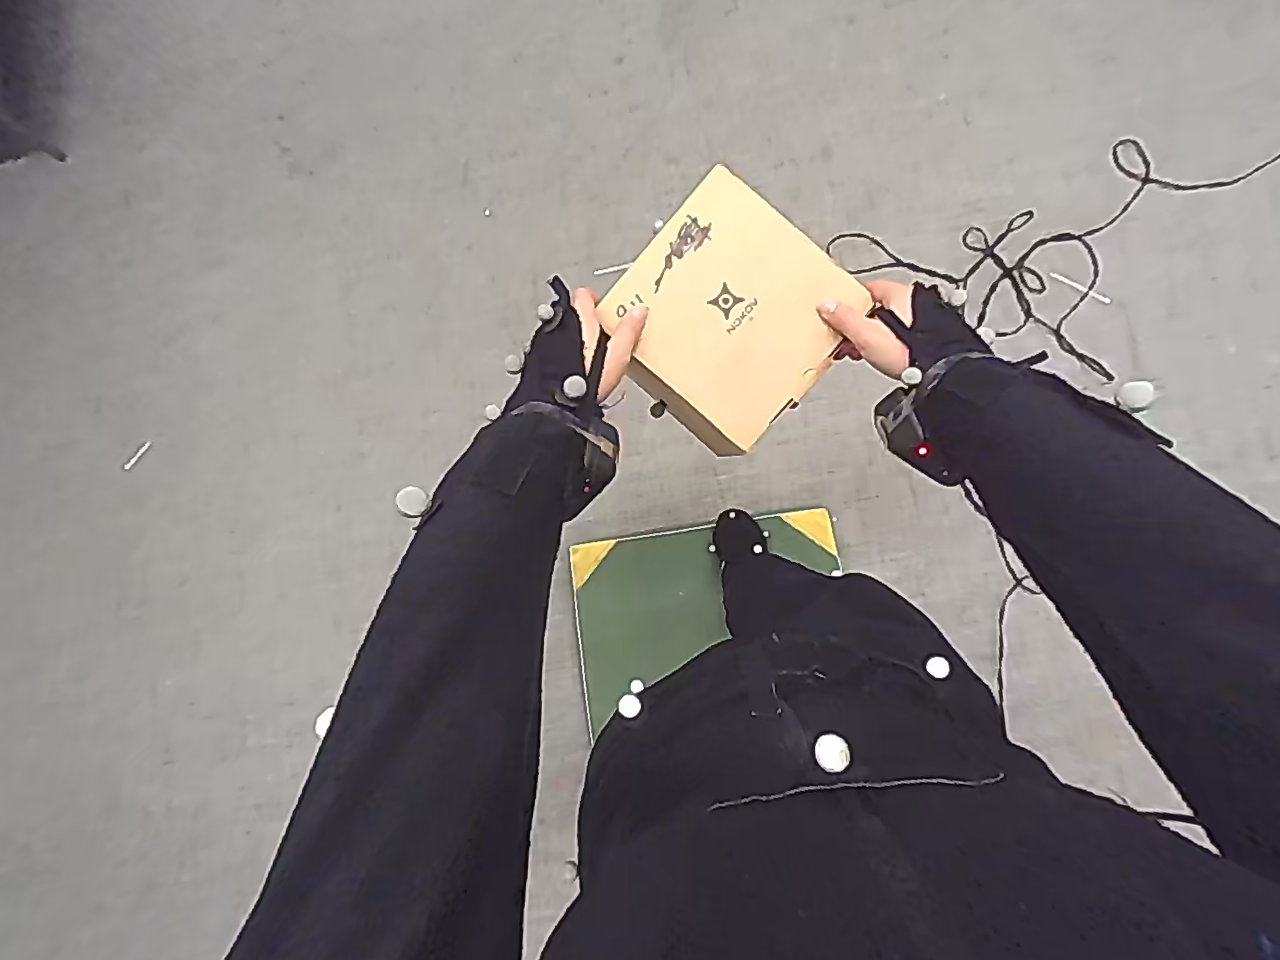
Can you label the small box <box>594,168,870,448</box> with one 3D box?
[{"bbox_3d":[0.078,-0.148,0.533,0.179,0.176,0.168,41,91,0],"label":"small box"}]
